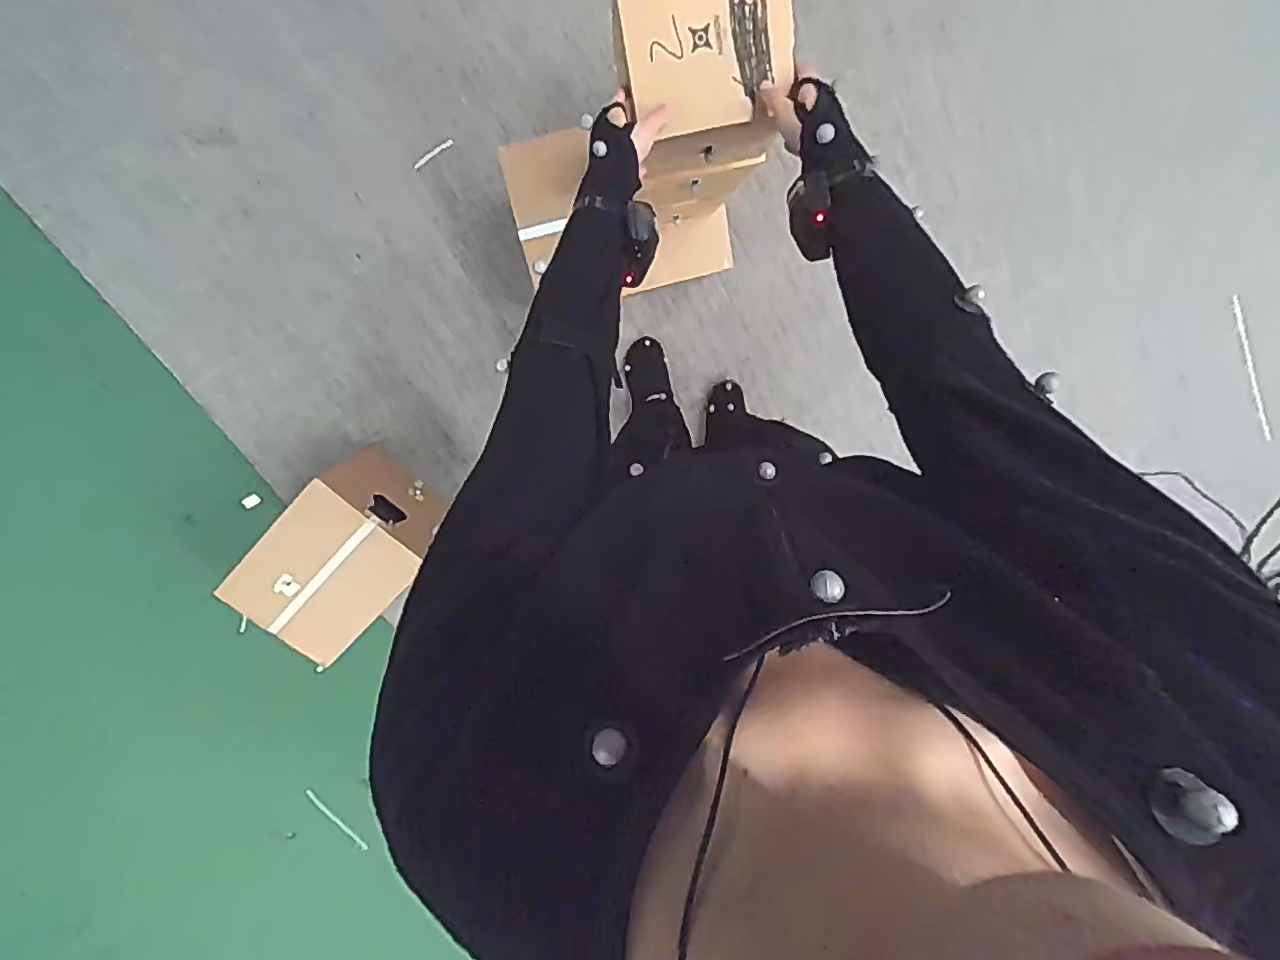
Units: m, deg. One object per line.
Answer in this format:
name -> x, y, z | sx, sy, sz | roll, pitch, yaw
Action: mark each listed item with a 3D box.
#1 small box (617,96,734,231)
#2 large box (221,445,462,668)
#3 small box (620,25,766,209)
small box -> 0.054, -0.555, 0.943 | 0.168, 0.176, 0.179 | -12, 106, 1
large box -> -0.735, 0.181, 1.390 | 0.408, 0.320, 0.320 | -44, 104, 11
small box -> 0.070, -0.511, 0.787 | 0.179, 0.176, 0.168 | -11, 106, 1
